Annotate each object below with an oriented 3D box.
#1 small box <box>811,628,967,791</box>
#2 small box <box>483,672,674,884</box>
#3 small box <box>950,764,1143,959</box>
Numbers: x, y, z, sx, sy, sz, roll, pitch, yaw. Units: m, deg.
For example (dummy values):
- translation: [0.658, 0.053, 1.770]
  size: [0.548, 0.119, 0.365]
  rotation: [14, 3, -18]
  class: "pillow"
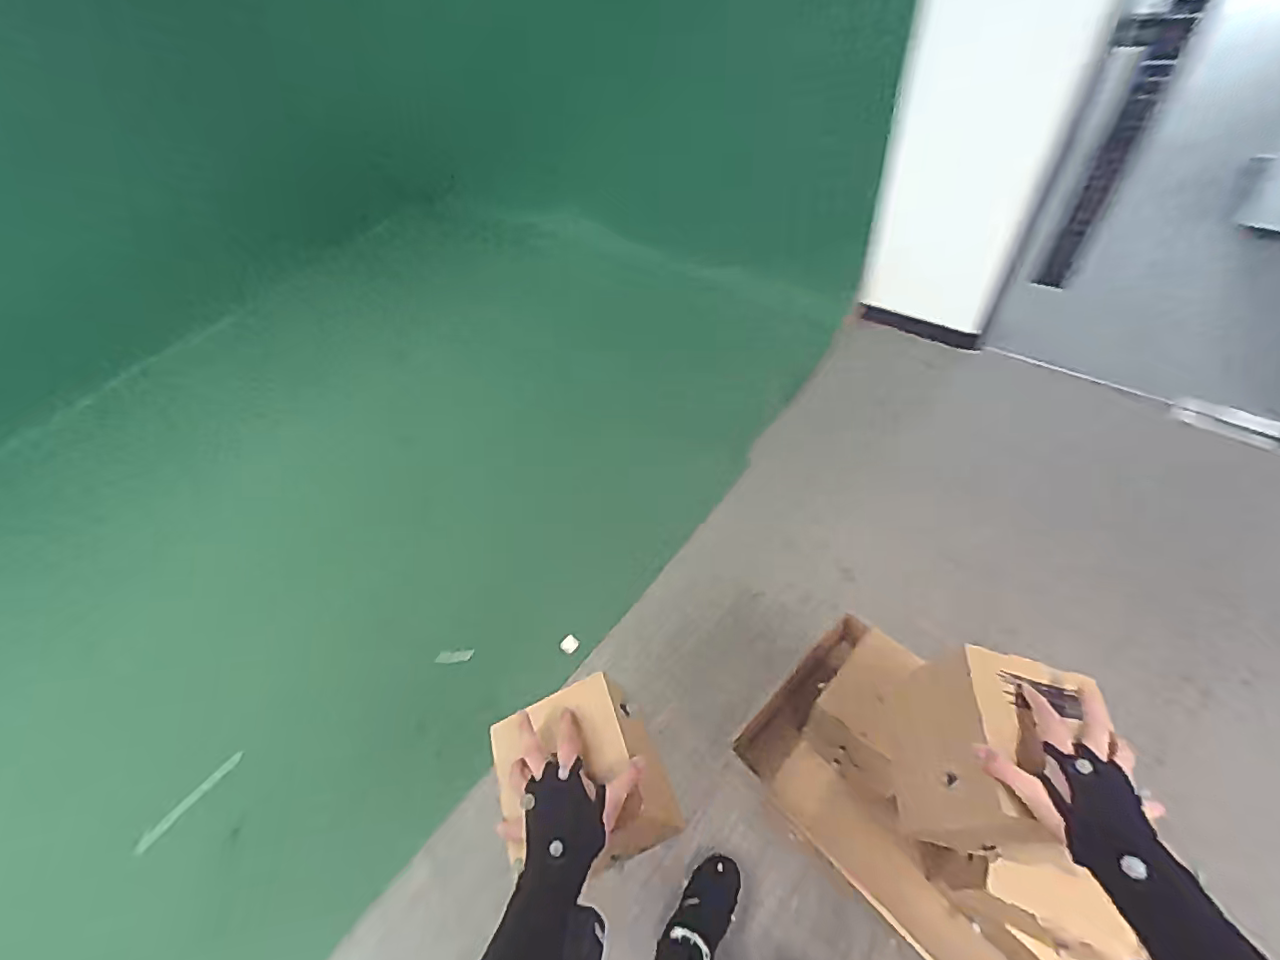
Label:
- translation: [0.413, 0.395, 0.928]
  size: [0.179, 0.176, 0.168]
  rotation: [-42, 57, -20]
  class: "small box"
- translation: [-0.077, 0.386, 0.697]
  size: [0.168, 0.176, 0.179]
  rotation: [-28, 48, 1]
  class: "small box"
- translation: [0.571, 0.551, 0.779]
  size: [0.168, 0.176, 0.179]
  rotation: [21, 59, 24]
  class: "small box"
